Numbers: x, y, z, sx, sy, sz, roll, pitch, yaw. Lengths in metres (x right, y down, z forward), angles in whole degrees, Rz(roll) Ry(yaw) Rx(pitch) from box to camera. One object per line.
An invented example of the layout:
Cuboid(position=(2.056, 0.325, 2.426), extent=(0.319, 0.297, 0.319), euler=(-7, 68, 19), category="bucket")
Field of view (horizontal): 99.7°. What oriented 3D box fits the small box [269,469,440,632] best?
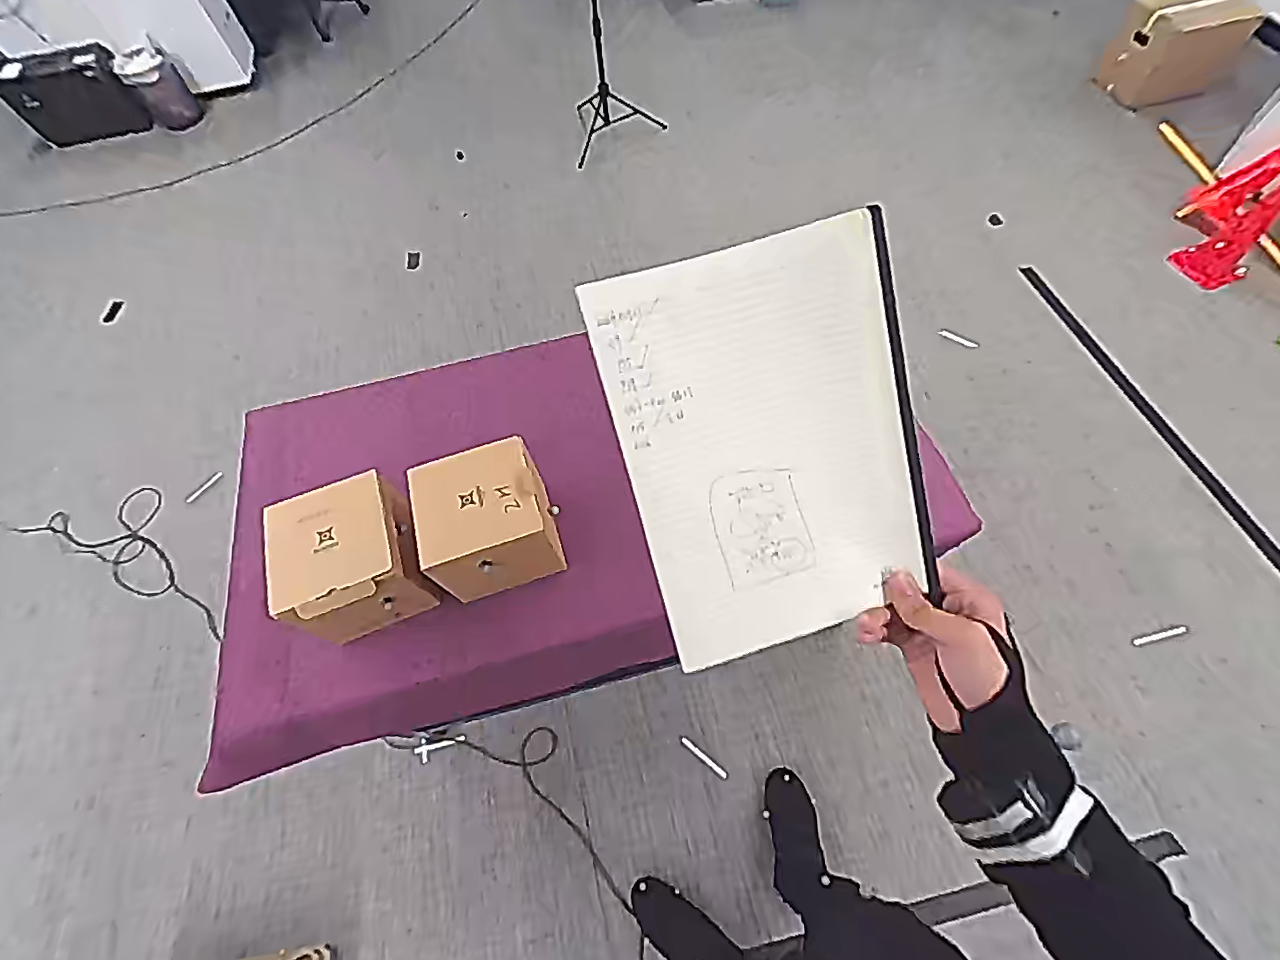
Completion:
Cuboid(position=(-0.426, 0.117, 0.826), extent=(0.168, 0.176, 0.179), euler=(-21, 62, -7), category="small box")
